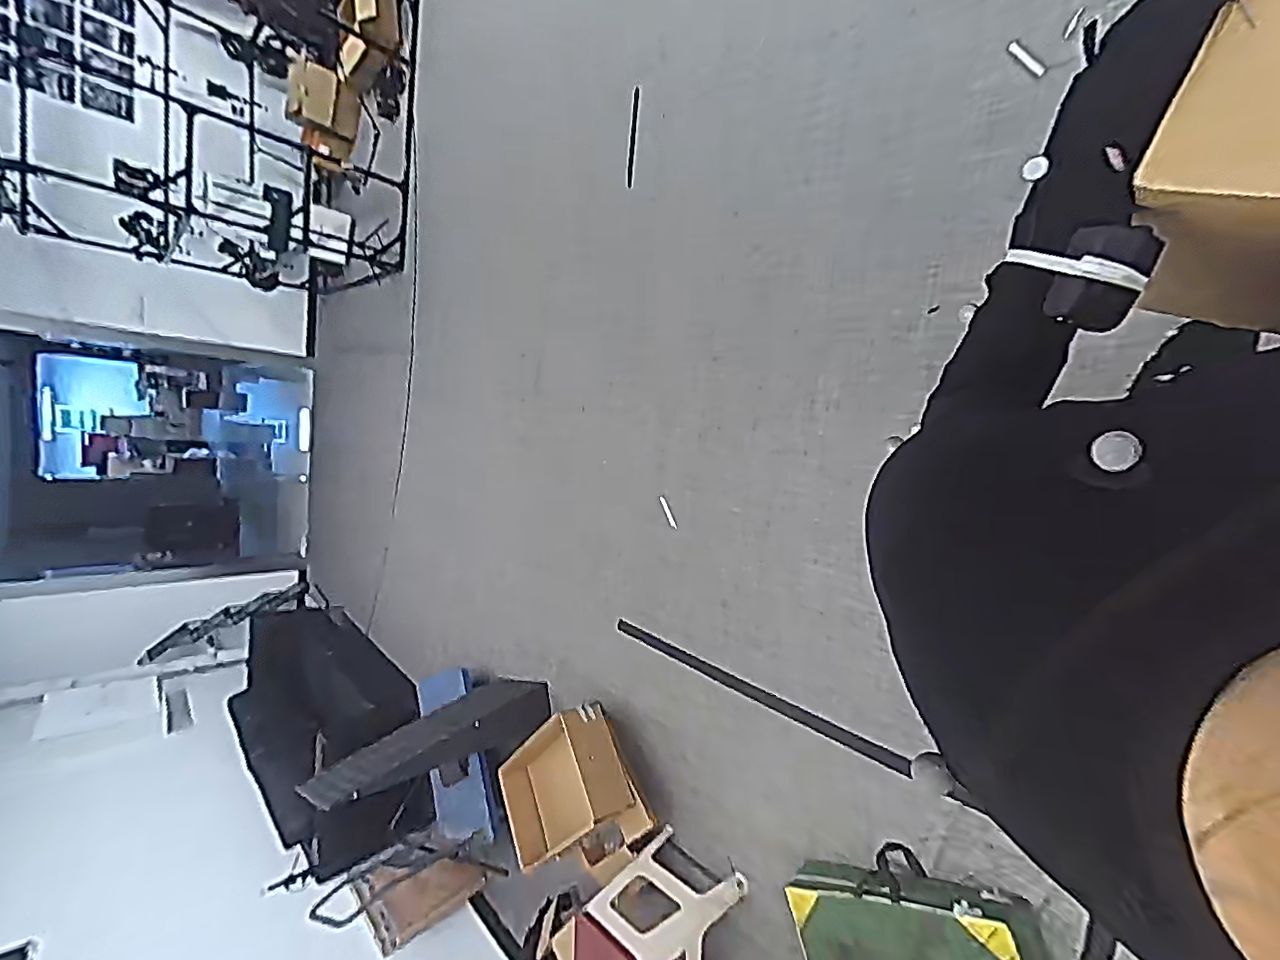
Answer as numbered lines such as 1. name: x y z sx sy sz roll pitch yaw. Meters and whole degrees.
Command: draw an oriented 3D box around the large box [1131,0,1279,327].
1. large box: 0.612 -0.255 0.315 0.408 0.320 0.320 32 110 37
